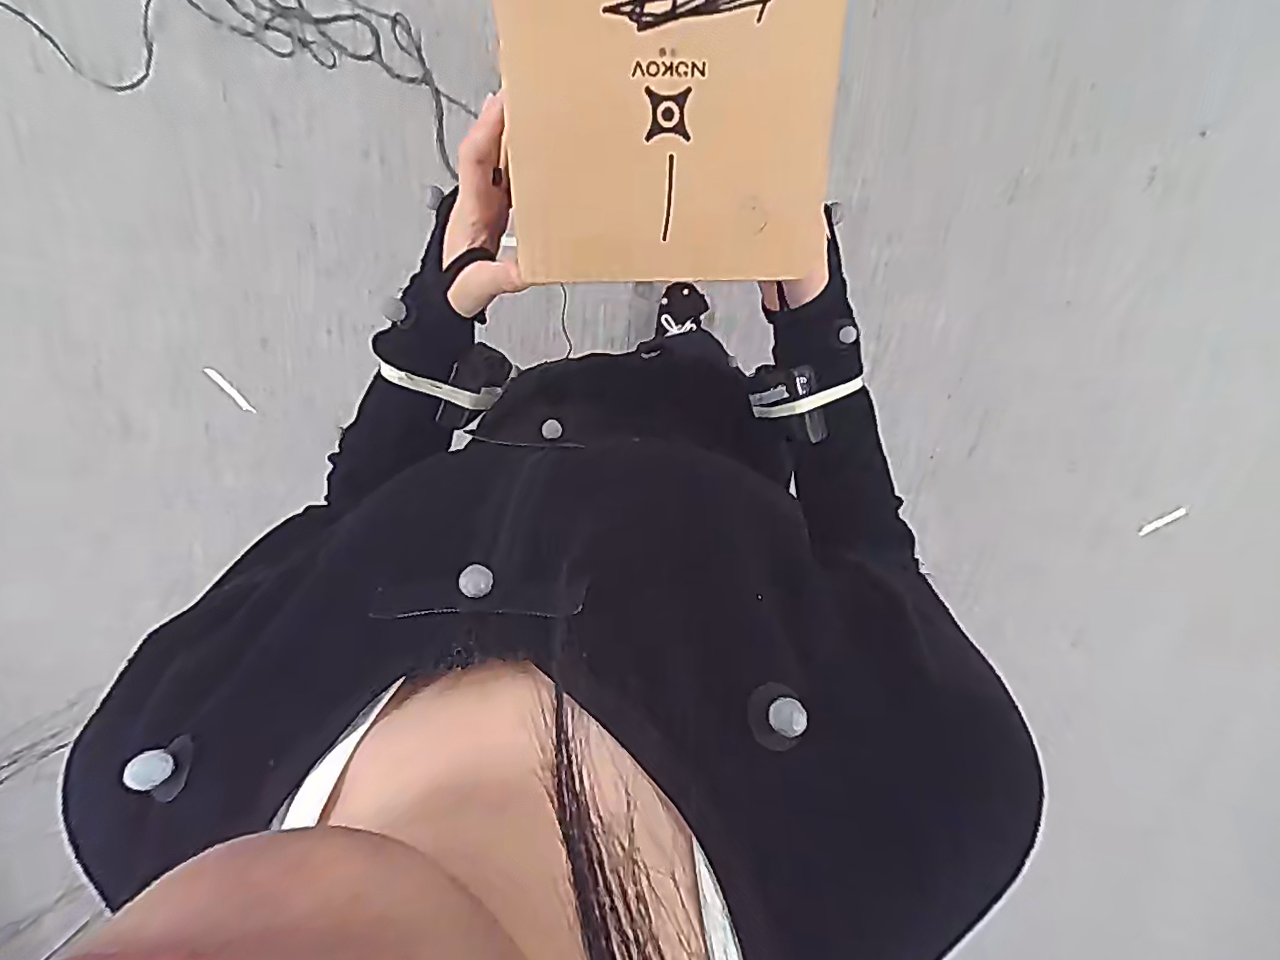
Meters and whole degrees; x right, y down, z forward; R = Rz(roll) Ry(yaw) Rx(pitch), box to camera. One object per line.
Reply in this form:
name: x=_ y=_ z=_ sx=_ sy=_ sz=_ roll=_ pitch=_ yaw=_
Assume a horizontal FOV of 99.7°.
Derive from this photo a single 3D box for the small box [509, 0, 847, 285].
small box: x=0.013 y=-0.221 z=0.347 sx=0.168 sy=0.176 sz=0.179 roll=-1 pitch=113 yaw=-3
